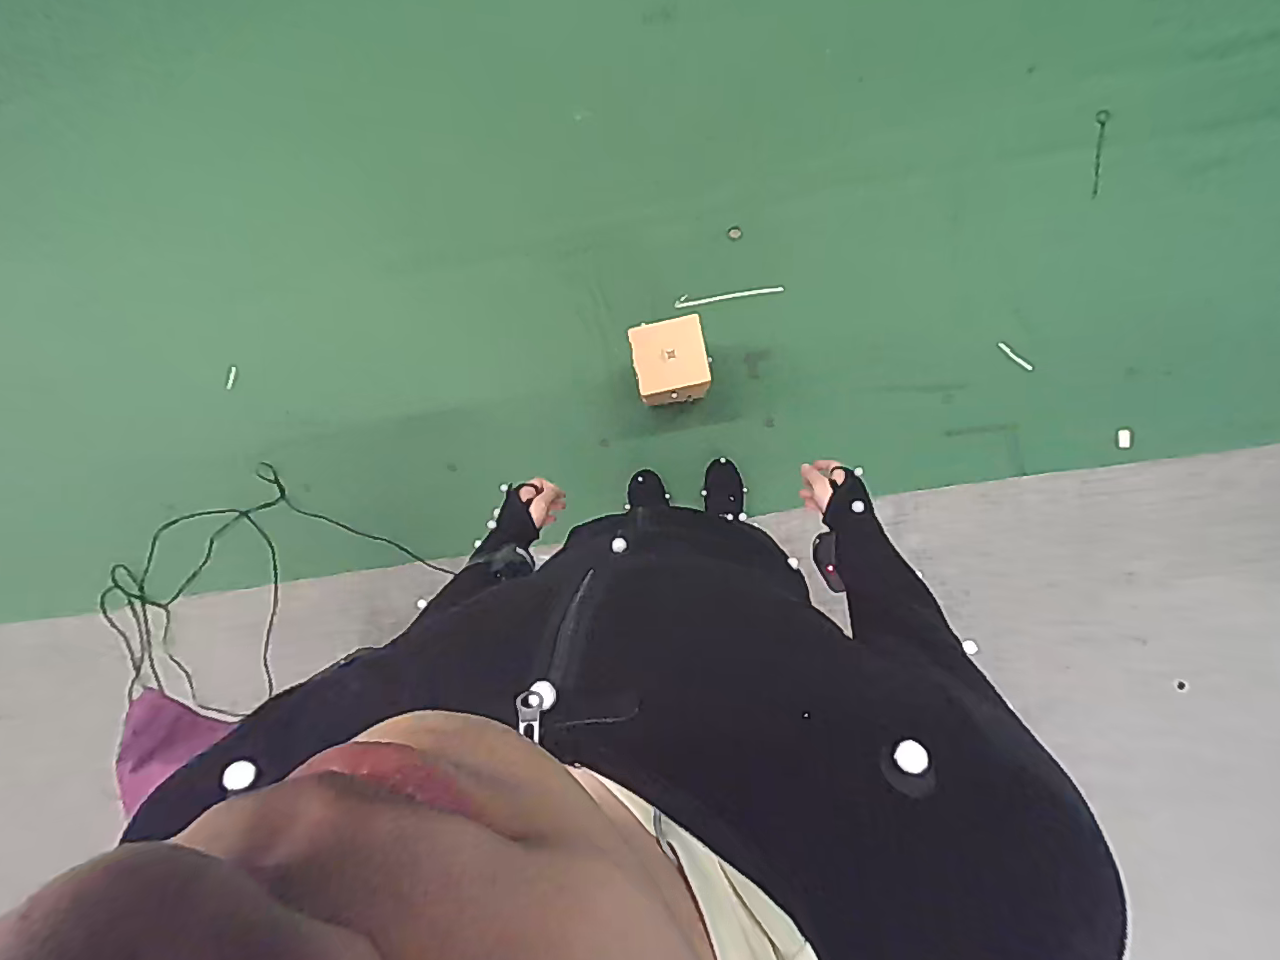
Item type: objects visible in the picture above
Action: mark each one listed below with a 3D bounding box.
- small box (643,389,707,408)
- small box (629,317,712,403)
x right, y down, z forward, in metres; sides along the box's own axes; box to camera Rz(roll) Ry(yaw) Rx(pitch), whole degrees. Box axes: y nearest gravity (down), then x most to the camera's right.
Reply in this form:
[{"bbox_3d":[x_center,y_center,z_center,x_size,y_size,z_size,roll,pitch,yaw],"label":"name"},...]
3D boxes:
[{"bbox_3d":[0.090,-0.303,1.532,0.179,0.176,0.168,-9,92,6],"label":"small box"},{"bbox_3d":[0.080,-0.297,1.370,0.179,0.176,0.168,-12,92,8],"label":"small box"}]
